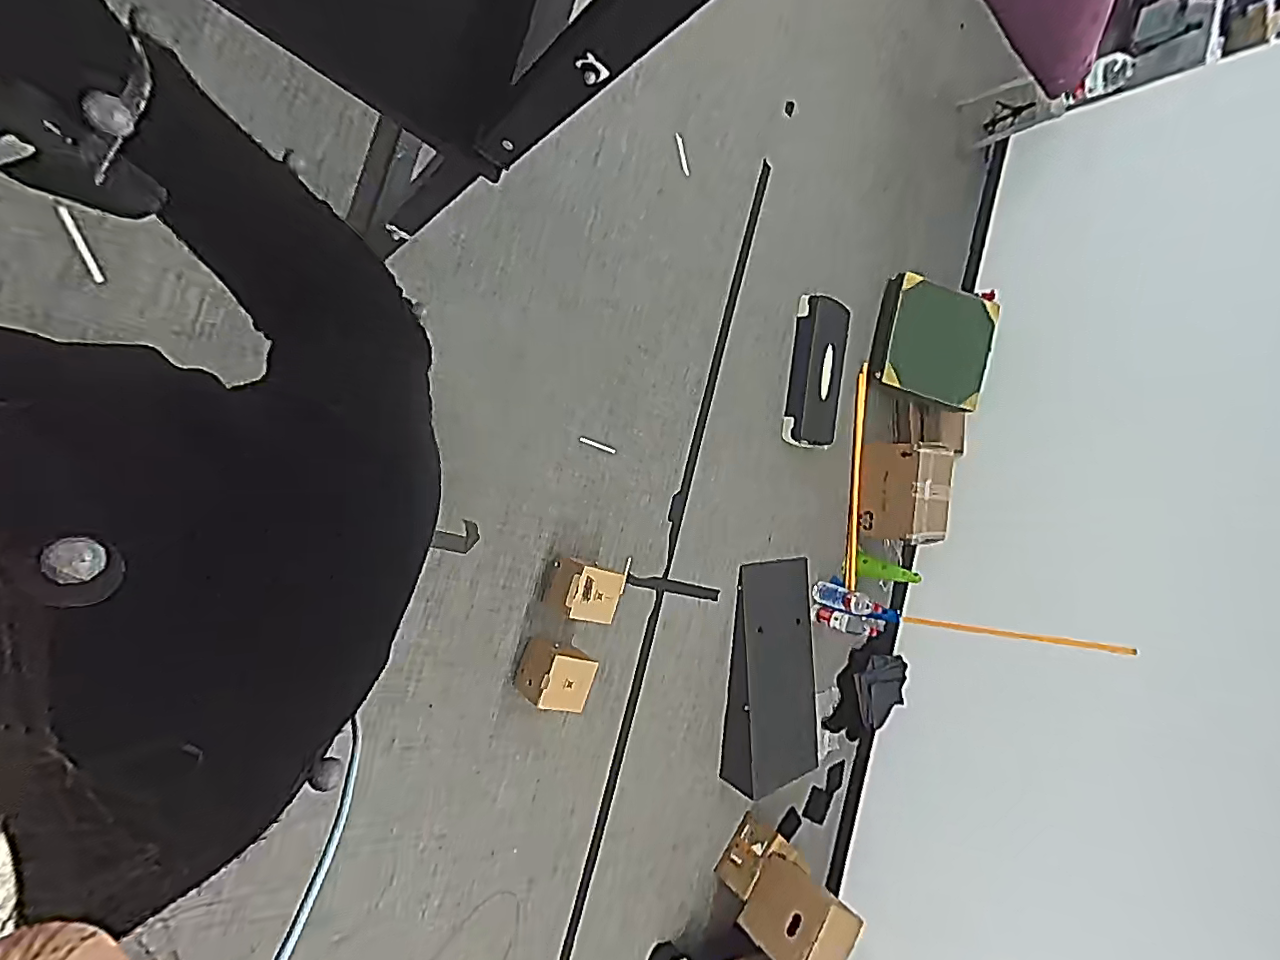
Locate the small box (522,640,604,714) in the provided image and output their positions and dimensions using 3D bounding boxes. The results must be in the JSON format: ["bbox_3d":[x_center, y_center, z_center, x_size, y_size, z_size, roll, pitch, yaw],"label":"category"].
[{"bbox_3d":[-0.250,0.624,1.724,0.179,0.176,0.168,25,81,-38],"label":"small box"}]

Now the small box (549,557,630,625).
[{"bbox_3d":[-0.168,0.355,1.751,0.179,0.176,0.168,21,83,-39],"label":"small box"}]
